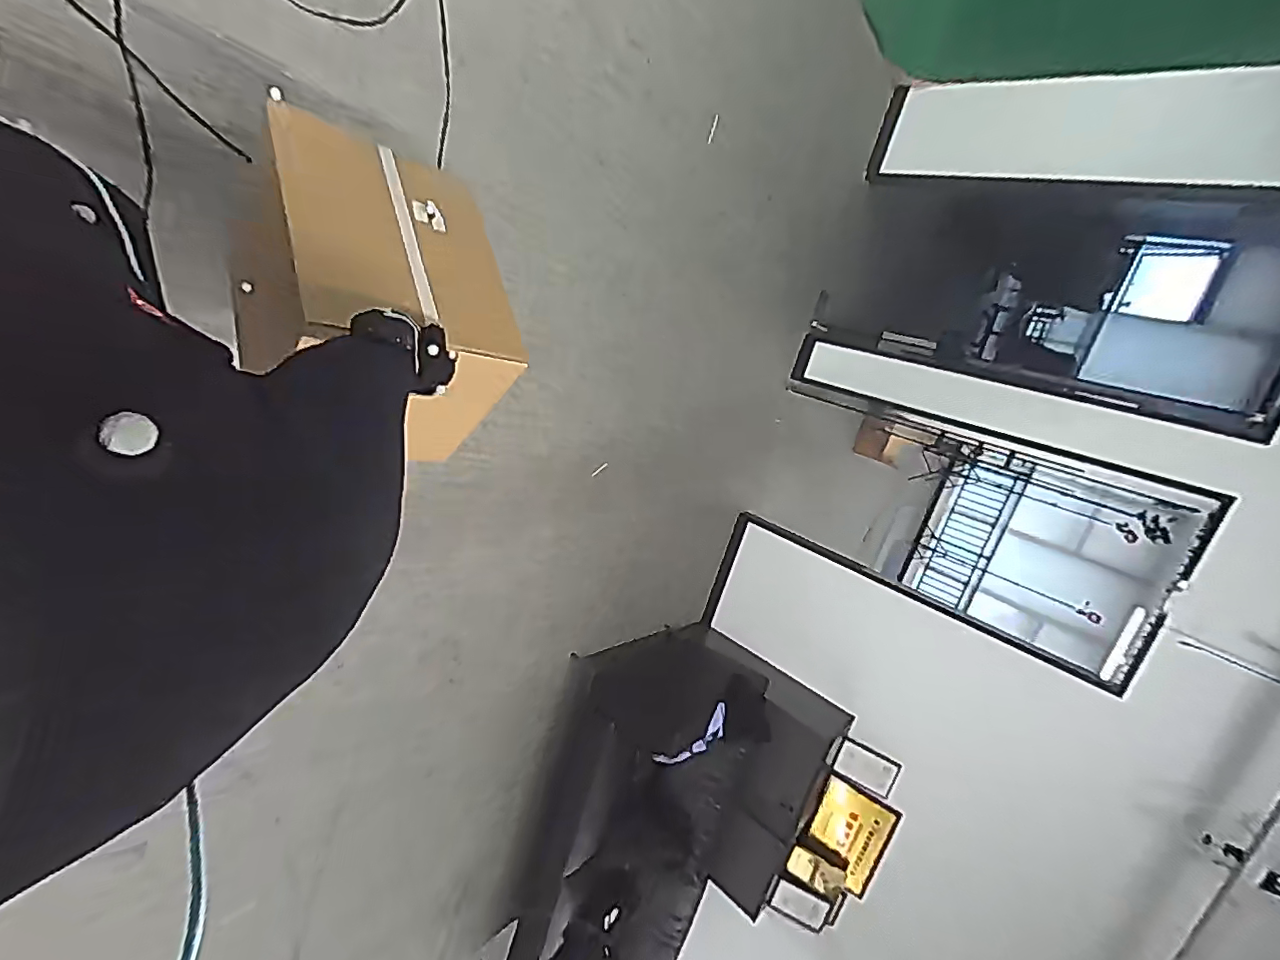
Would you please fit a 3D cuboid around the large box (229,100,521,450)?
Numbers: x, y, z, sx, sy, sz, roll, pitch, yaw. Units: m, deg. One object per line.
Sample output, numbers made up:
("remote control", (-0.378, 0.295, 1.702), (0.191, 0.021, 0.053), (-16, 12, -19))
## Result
("large box", (-0.454, -0.294, 0.900), (0.320, 0.408, 0.320), (0, 152, -47))
